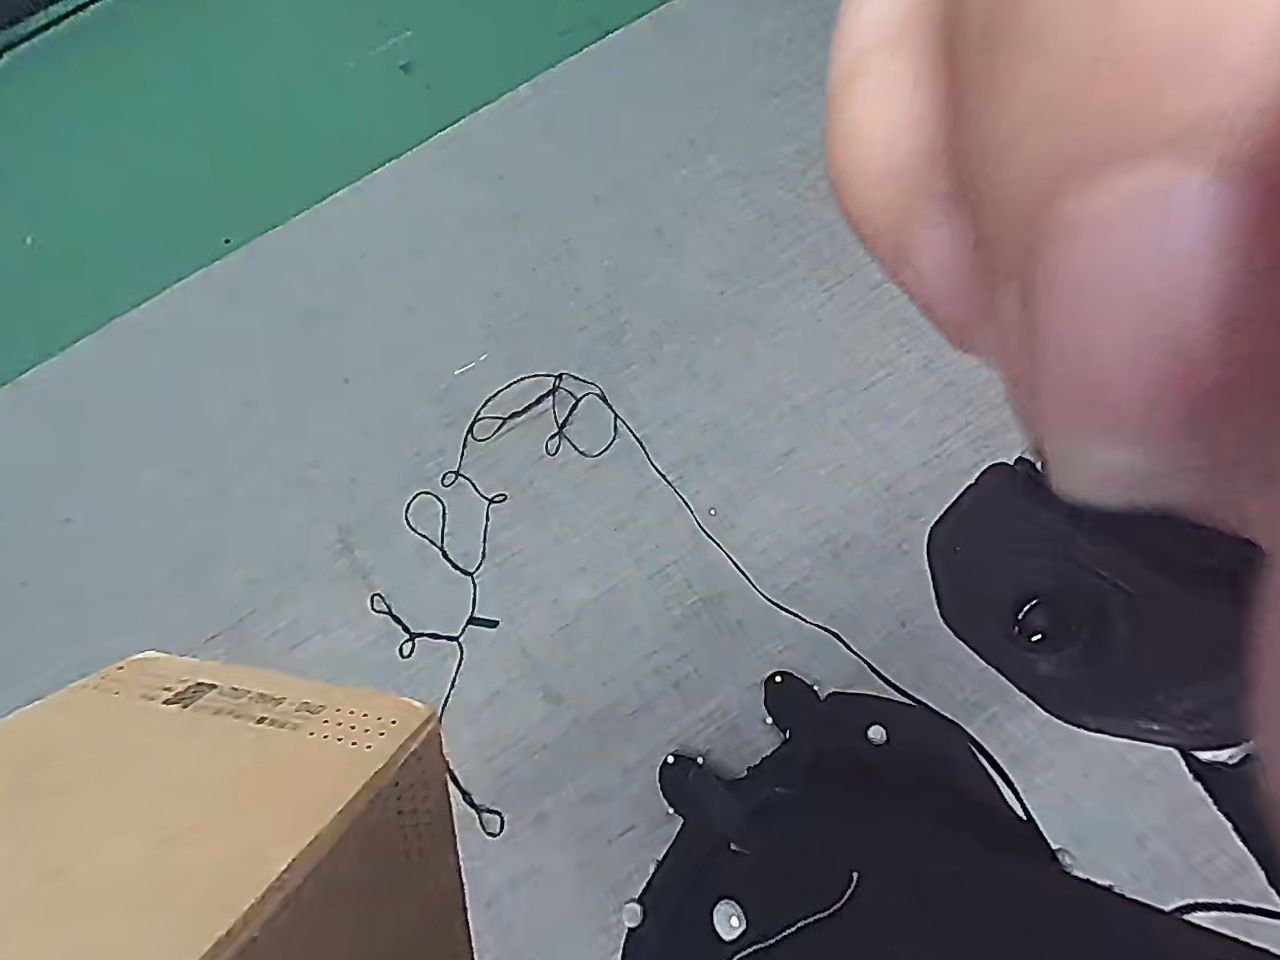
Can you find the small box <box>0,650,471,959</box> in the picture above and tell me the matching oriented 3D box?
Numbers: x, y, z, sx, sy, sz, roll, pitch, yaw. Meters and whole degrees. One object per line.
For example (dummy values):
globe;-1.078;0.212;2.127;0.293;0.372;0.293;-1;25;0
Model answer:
small box;-0.178;0.191;0.191;0.168;0.176;0.179;3;107;15
